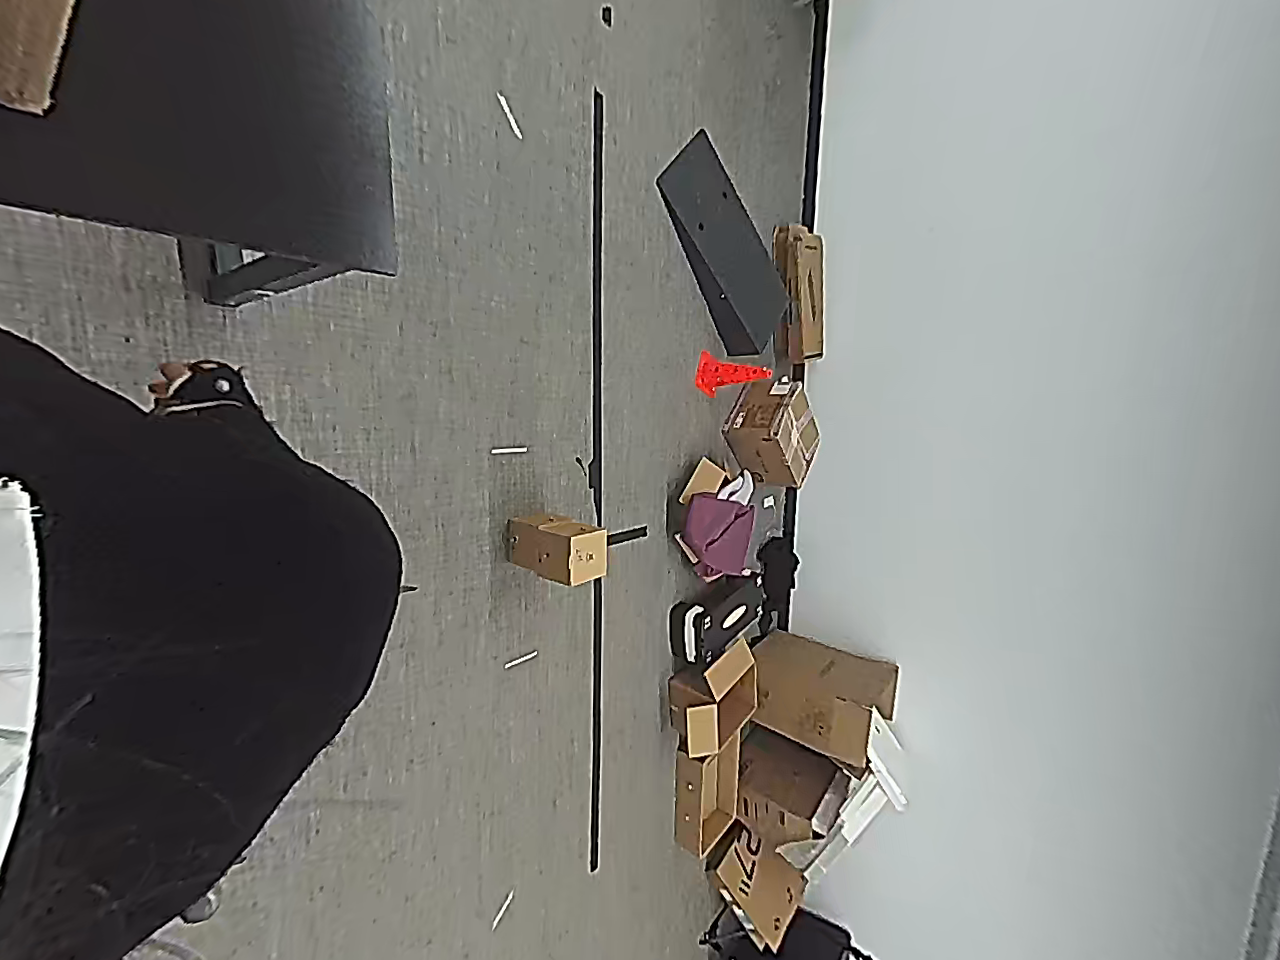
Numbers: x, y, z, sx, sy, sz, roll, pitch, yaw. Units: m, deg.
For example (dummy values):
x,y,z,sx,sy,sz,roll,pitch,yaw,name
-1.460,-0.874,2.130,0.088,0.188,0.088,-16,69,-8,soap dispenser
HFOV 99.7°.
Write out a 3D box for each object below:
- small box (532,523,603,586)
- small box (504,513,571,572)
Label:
x,y,z,sx,sy,sz,roll,pitch,yaw,name
-0.245,0.246,1.840,0.179,0.176,0.168,-8,101,-51,small box
-0.369,0.220,1.947,0.179,0.176,0.168,-8,102,-50,small box
